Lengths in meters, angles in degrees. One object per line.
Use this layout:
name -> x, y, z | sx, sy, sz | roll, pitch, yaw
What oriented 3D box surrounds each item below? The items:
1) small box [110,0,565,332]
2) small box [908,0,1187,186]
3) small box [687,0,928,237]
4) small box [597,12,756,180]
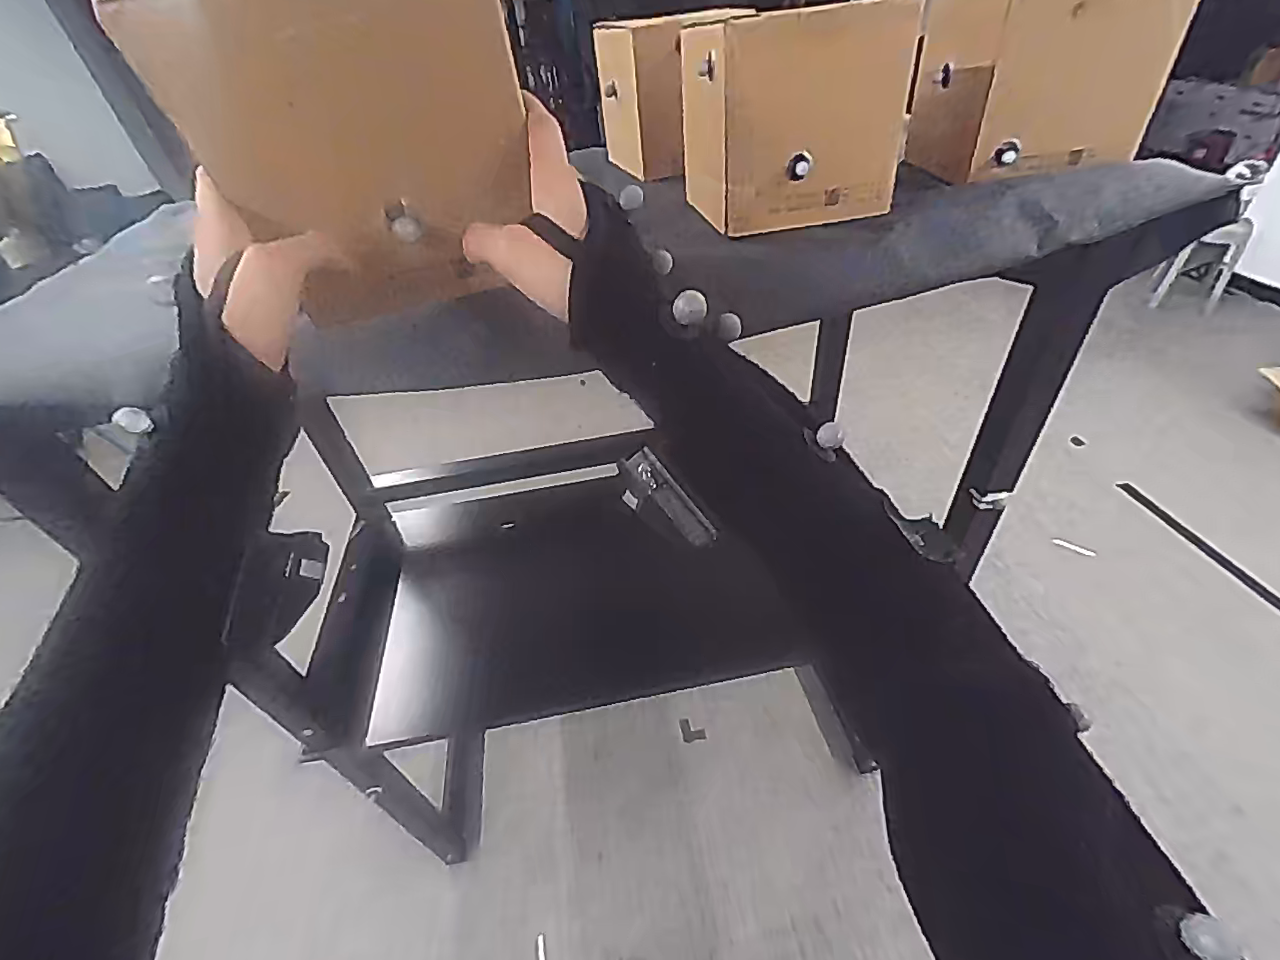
small box -> -0.155, -0.225, 0.342 | 0.168, 0.176, 0.179 | -16, 54, -5
small box -> 0.412, -0.423, 0.574 | 0.168, 0.176, 0.179 | -5, 39, 4
small box -> 0.145, -0.358, 0.542 | 0.168, 0.176, 0.179 | -11, 40, -4
small box -> 0.048, -0.538, 0.762 | 0.168, 0.176, 0.179 | -17, 42, -11
